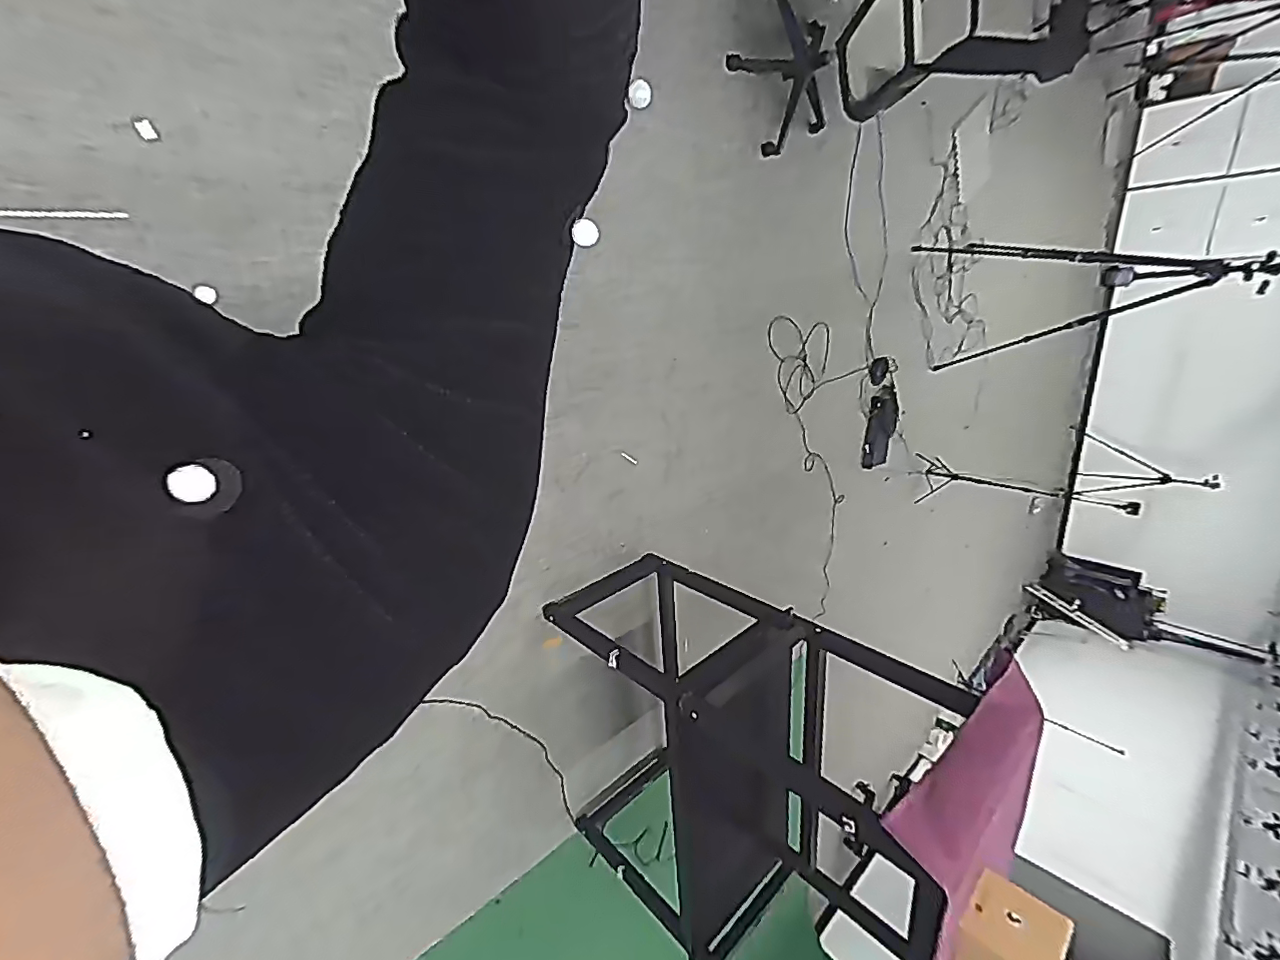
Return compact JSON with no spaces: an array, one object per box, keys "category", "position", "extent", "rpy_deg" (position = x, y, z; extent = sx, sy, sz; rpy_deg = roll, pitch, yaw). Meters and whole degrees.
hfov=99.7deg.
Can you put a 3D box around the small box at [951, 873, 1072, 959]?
[{"category":"small box","position":[0.789,0.996,1.156],"extent":[0.168,0.176,0.179],"rpy_deg":[-22,116,-36]}]
